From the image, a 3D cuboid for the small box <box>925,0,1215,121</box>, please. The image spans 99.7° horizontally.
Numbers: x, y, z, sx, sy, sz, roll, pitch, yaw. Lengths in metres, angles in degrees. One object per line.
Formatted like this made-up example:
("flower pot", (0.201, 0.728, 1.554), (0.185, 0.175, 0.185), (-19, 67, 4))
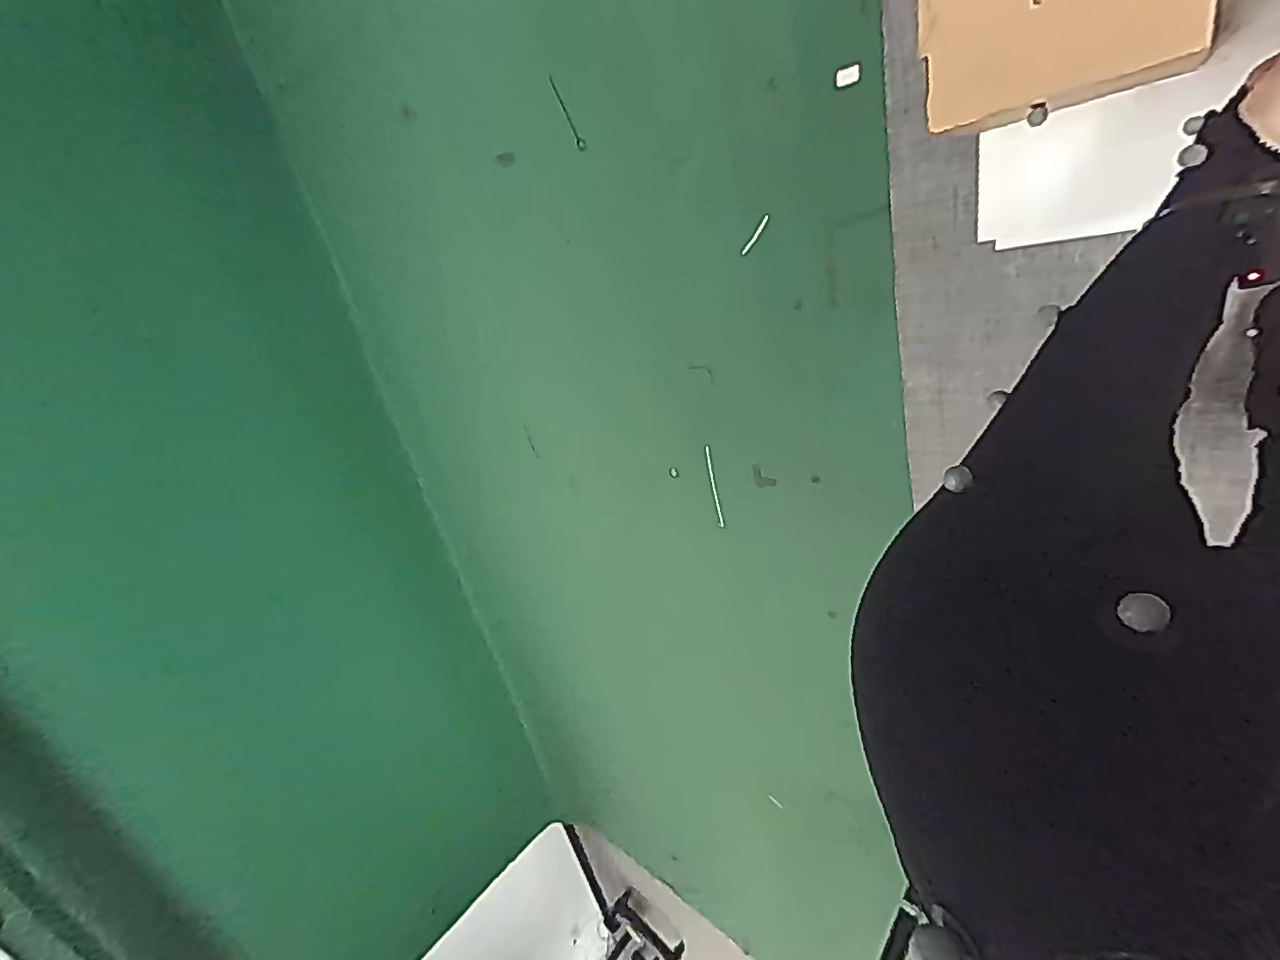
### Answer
("small box", (0.353, -0.414, 0.443), (0.179, 0.176, 0.168), (7, 120, 42))
